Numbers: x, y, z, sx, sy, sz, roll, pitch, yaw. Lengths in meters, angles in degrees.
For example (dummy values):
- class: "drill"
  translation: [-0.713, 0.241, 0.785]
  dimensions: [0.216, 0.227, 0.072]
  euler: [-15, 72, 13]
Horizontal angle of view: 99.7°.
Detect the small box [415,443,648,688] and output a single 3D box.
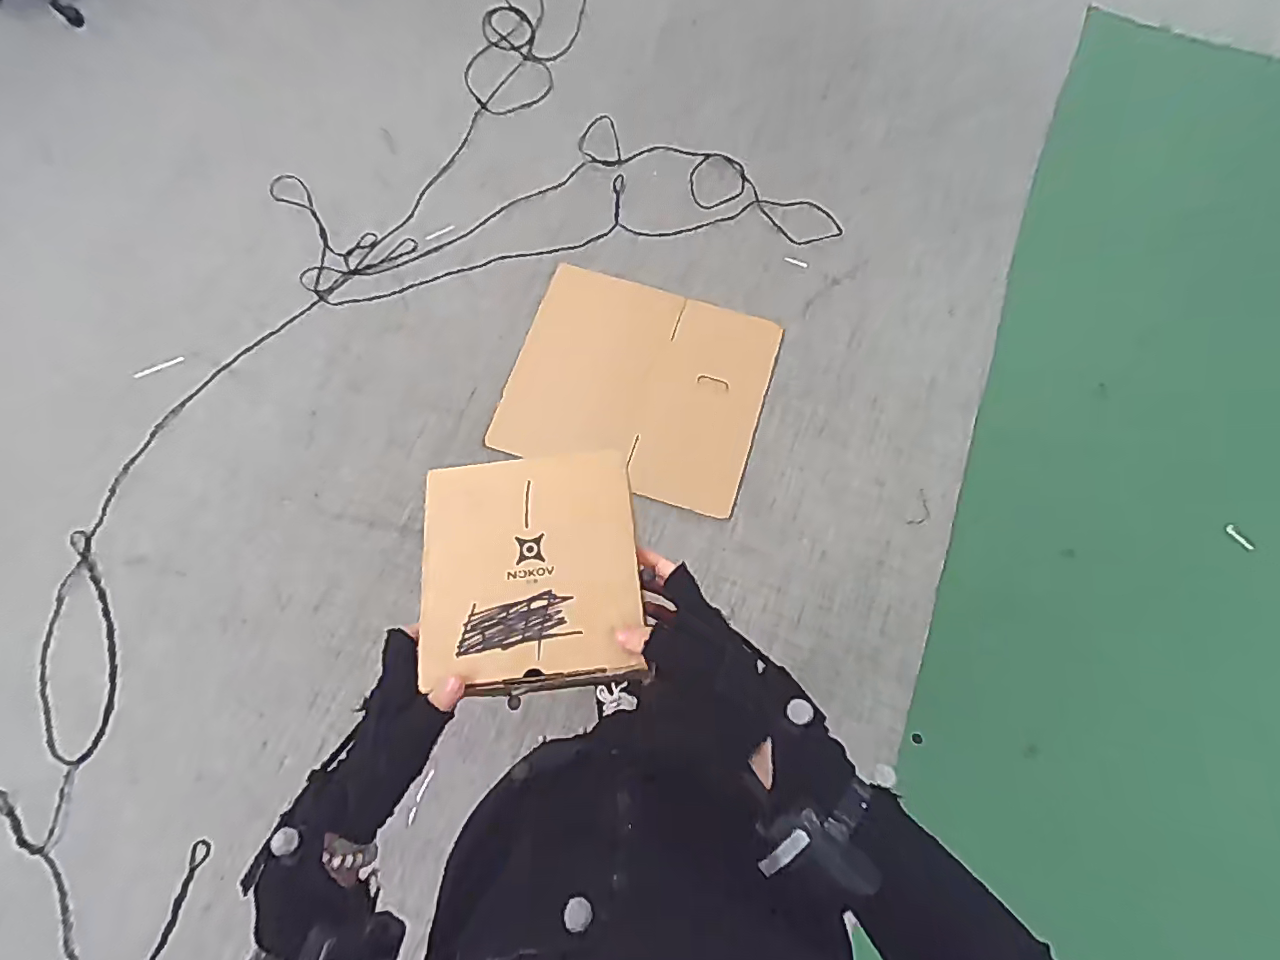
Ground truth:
- class: "small box"
  translation: [-0.084, 0.088, 0.488]
  dimensions: [0.168, 0.176, 0.179]
  euler: [-7, 66, 0]
